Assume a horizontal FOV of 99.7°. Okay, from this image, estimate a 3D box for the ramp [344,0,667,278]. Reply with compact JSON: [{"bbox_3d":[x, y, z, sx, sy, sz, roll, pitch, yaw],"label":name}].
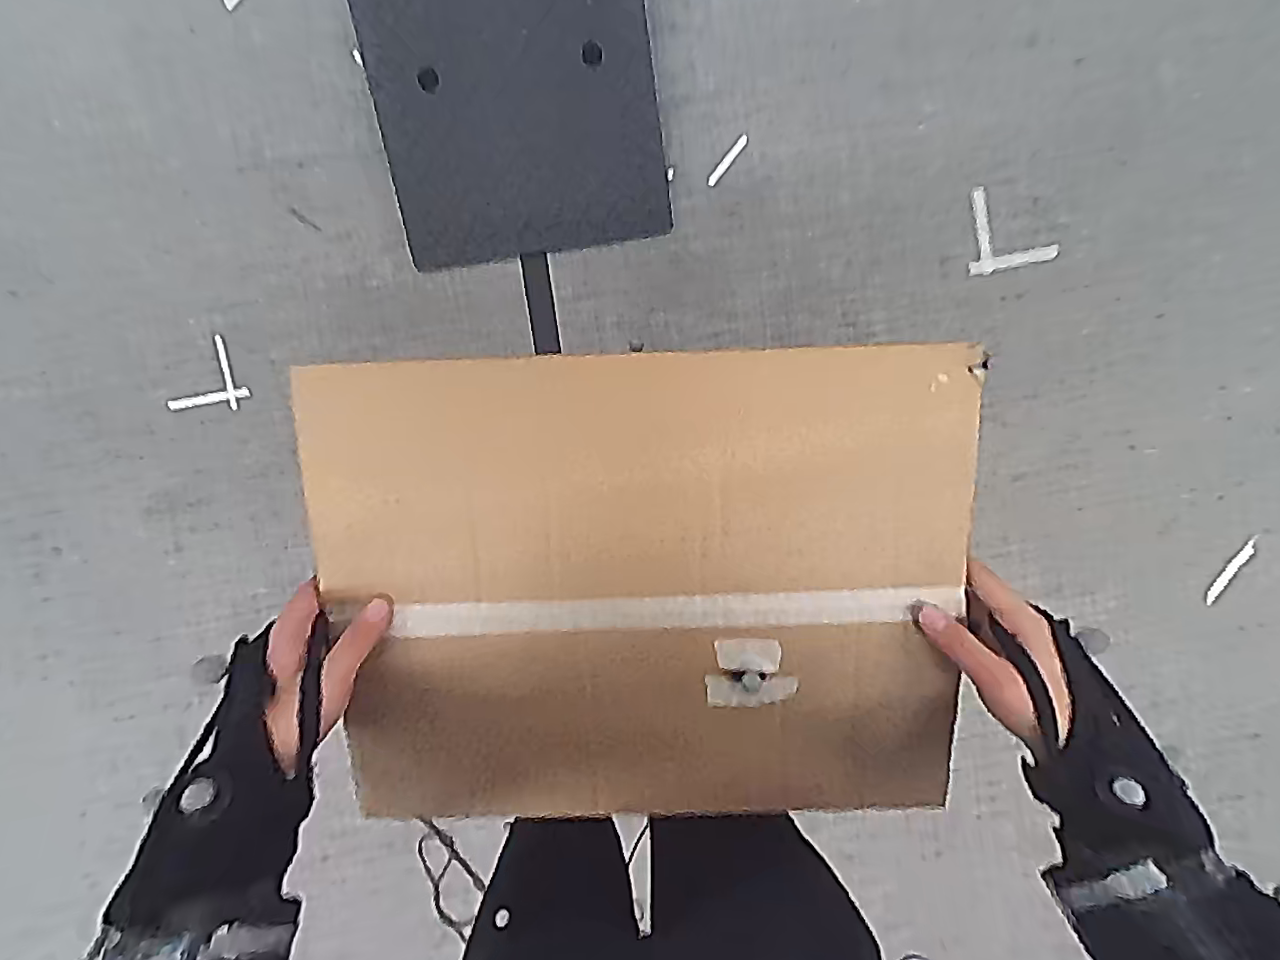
[{"bbox_3d":[-0.258,-0.891,0.890,0.509,0.206,0.991,-11,96,-2],"label":"ramp"}]
